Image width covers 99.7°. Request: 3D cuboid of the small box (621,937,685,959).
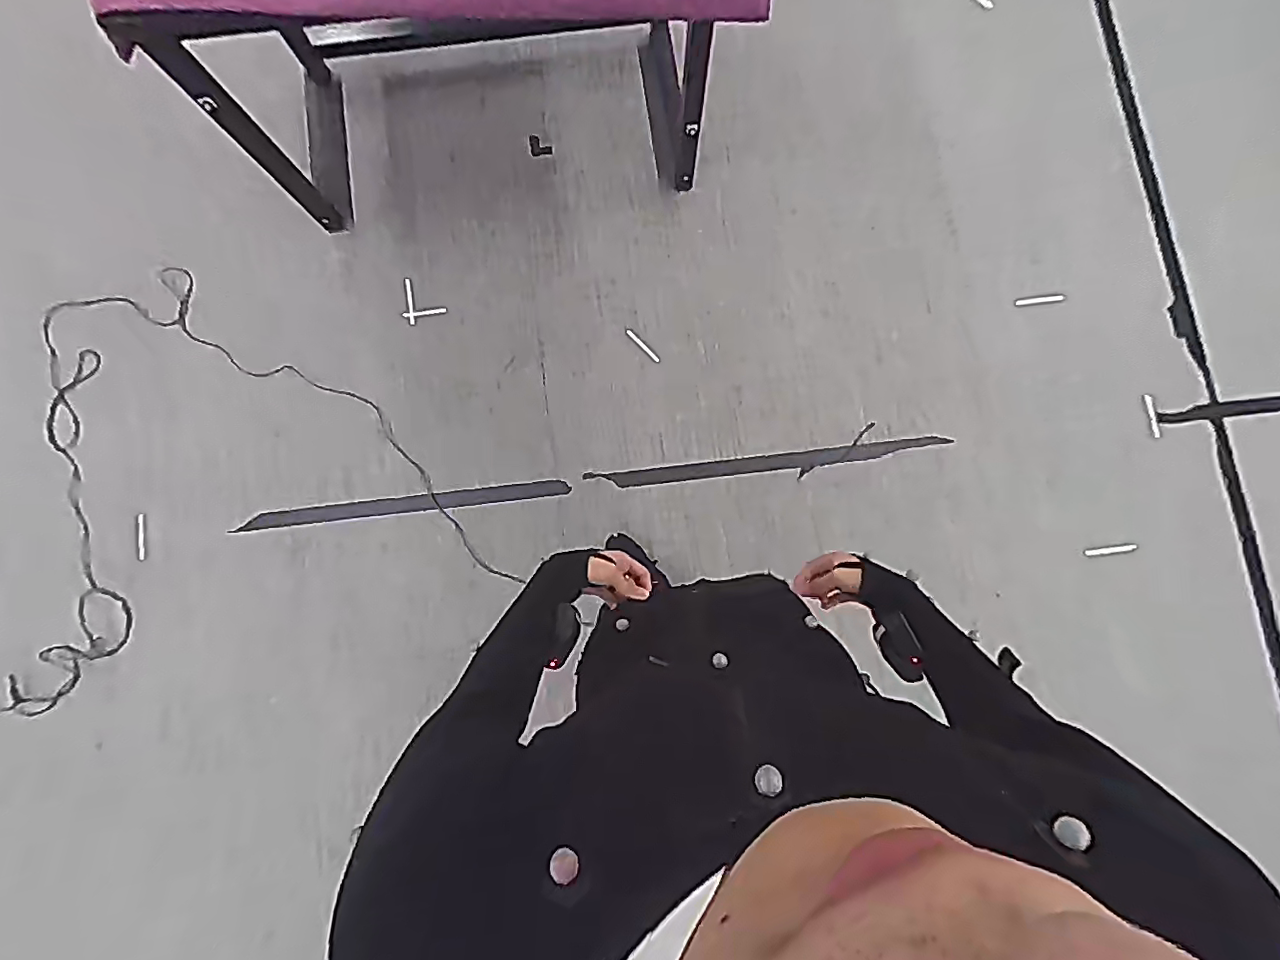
[{"bbox_3d":[0.040,1.331,1.386,0.179,0.176,0.168,-14,84,0],"label":"small box"}]
